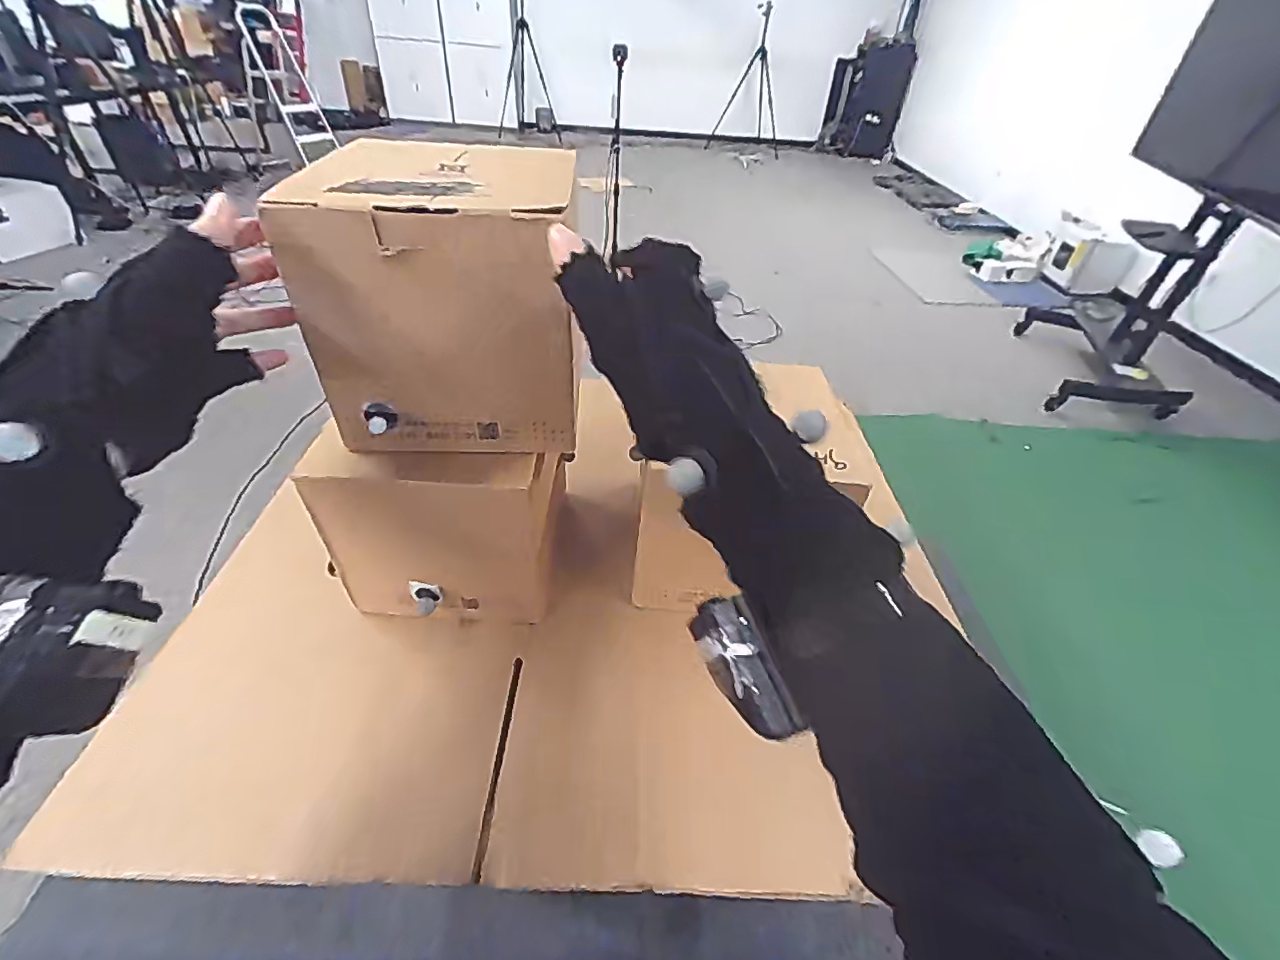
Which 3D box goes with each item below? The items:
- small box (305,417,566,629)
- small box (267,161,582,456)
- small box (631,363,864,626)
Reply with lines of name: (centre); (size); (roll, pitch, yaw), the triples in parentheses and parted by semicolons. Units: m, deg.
small box: (-0.160, 0.013, 0.497); (0.168, 0.176, 0.179); (2, 42, -1)
small box: (-0.132, -0.132, 0.416); (0.168, 0.176, 0.179); (1, 40, -4)
small box: (0.081, 0.011, 0.512); (0.168, 0.176, 0.179); (5, 40, -2)
